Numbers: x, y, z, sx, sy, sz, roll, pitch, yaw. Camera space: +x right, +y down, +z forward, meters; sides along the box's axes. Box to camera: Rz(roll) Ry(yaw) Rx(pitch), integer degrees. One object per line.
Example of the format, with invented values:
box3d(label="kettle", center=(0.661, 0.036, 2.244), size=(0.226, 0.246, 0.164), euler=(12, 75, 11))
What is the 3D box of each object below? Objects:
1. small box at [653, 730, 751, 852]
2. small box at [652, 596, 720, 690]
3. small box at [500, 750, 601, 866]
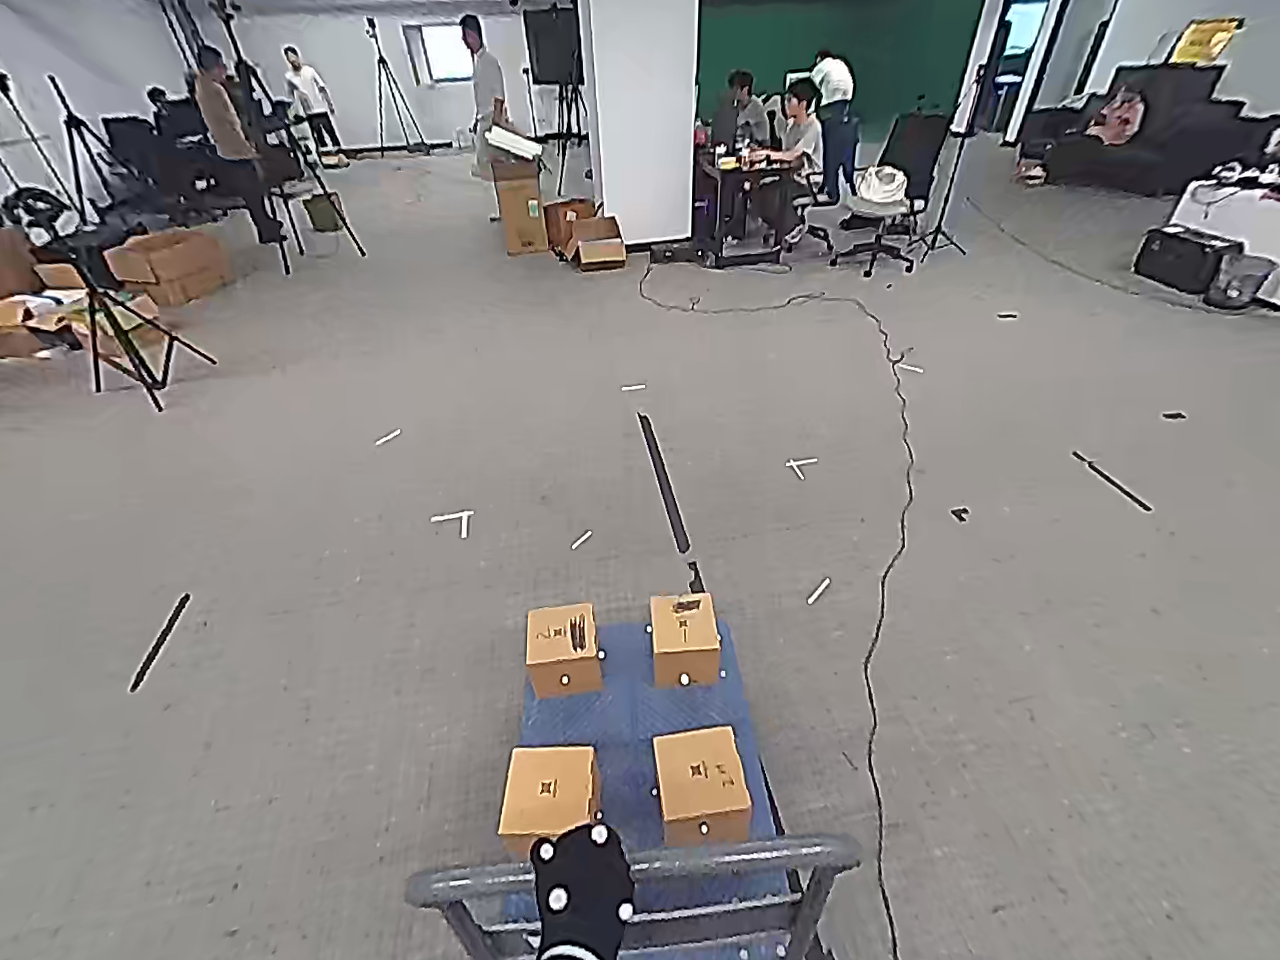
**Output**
box3d(label="small box", center=(0.129, 0.664, 1.153), size=(0.179, 0.176, 0.168), euler=(-7, 38, -3))
box3d(label="small box", center=(0.117, 0.436, 1.445), size=(0.168, 0.176, 0.179), euler=(-4, 39, 0))
box3d(label="small box", center=(-0.180, 0.694, 1.142), size=(0.179, 0.176, 0.168), euler=(-1, 38, 0))
